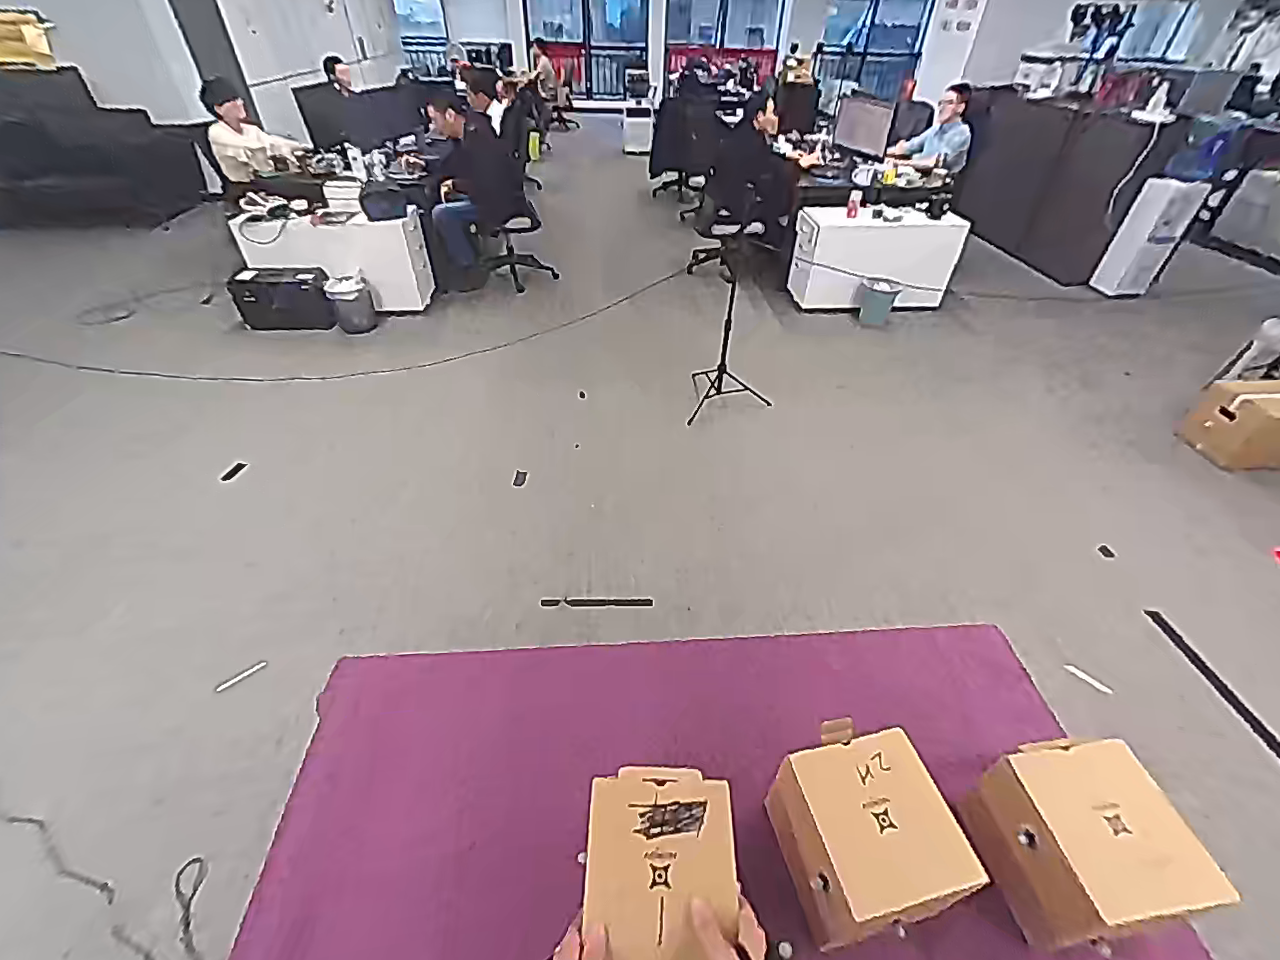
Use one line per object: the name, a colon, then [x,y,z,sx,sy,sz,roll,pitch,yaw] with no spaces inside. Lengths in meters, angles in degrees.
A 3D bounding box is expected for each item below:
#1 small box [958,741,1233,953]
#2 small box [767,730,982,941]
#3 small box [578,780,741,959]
small box: [0.553,0.467,0.693,0.168,0.176,0.179,-4,41,-5]
small box: [0.281,0.458,0.694,0.168,0.176,0.179,-7,41,-11]
small box: [0.020,0.482,0.646,0.168,0.176,0.179,2,47,1]
